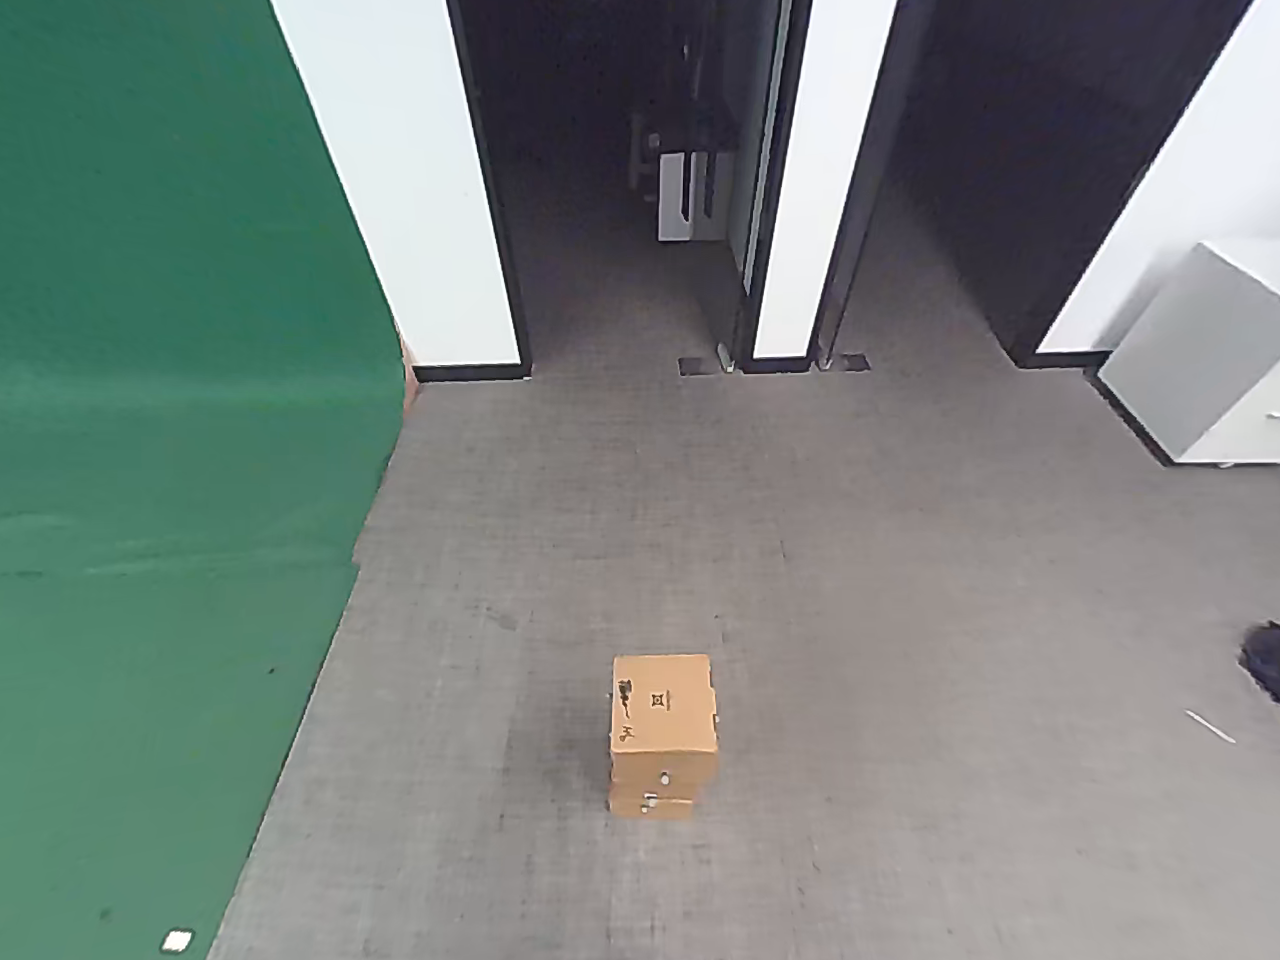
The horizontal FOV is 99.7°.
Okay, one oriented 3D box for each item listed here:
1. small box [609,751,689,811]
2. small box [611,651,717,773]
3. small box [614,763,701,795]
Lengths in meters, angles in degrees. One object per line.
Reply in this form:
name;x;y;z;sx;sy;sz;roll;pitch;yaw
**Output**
small box;0.026;0.647;1.238;0.179;0.176;0.168;1;48;2
small box;0.041;0.429;0.997;0.179;0.176;0.168;-1;48;1
small box;0.036;0.535;1.122;0.168;0.176;0.179;-1;49;2
